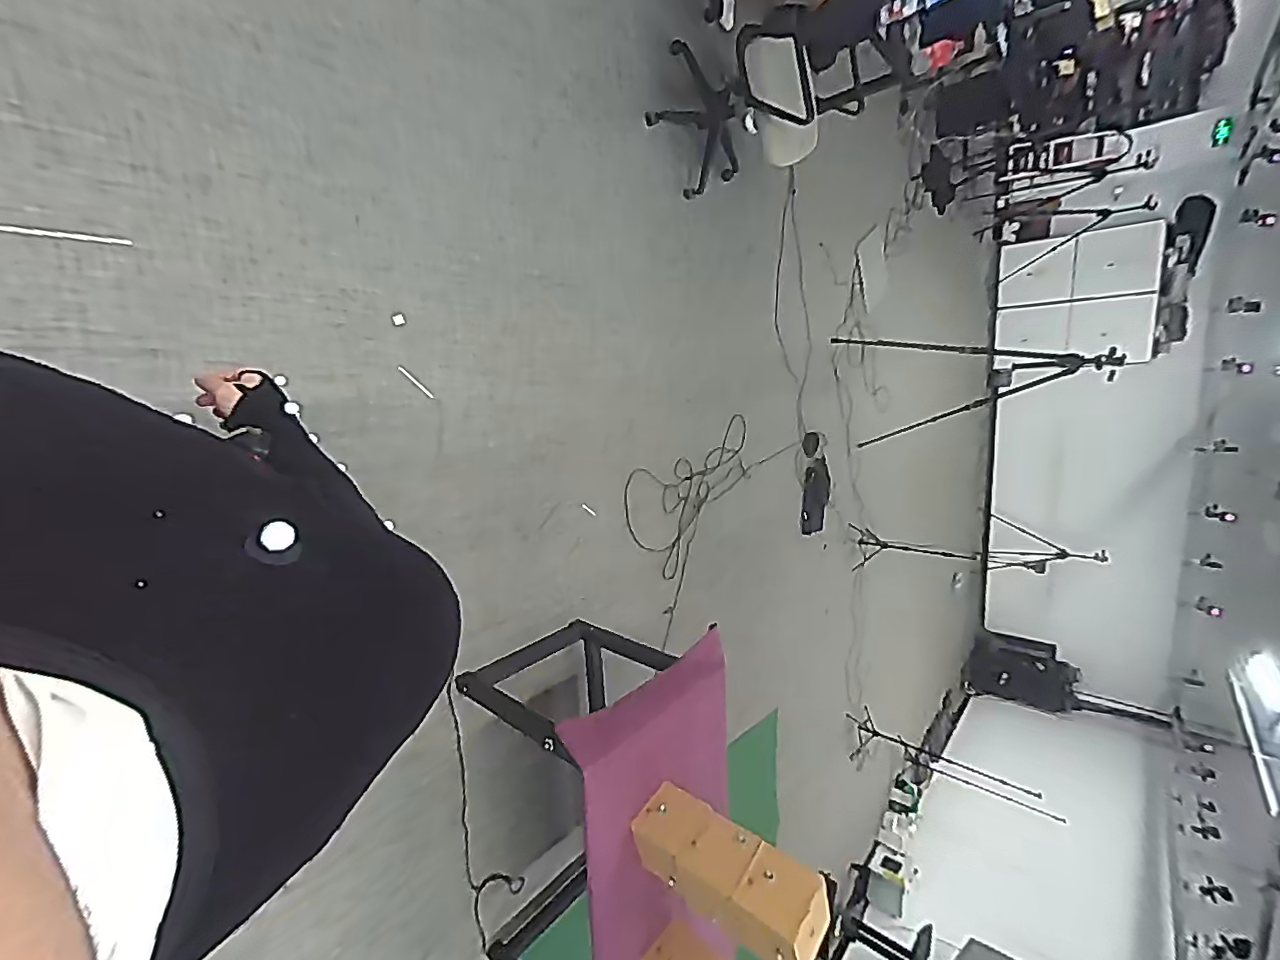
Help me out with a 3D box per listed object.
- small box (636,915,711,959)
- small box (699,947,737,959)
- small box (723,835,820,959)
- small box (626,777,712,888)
[{"bbox_3d":[0.101,1.471,1.632,0.168,0.176,0.179,-11,103,-48],"label":"small box"},{"bbox_3d":[0.226,1.483,1.528,0.168,0.176,0.179,-13,103,-47],"label":"small box"},{"bbox_3d":[0.326,1.033,1.339,0.168,0.176,0.179,-34,119,-41],"label":"small box"},{"bbox_3d":[0.083,1.002,1.555,0.168,0.176,0.179,-33,118,-43],"label":"small box"}]
